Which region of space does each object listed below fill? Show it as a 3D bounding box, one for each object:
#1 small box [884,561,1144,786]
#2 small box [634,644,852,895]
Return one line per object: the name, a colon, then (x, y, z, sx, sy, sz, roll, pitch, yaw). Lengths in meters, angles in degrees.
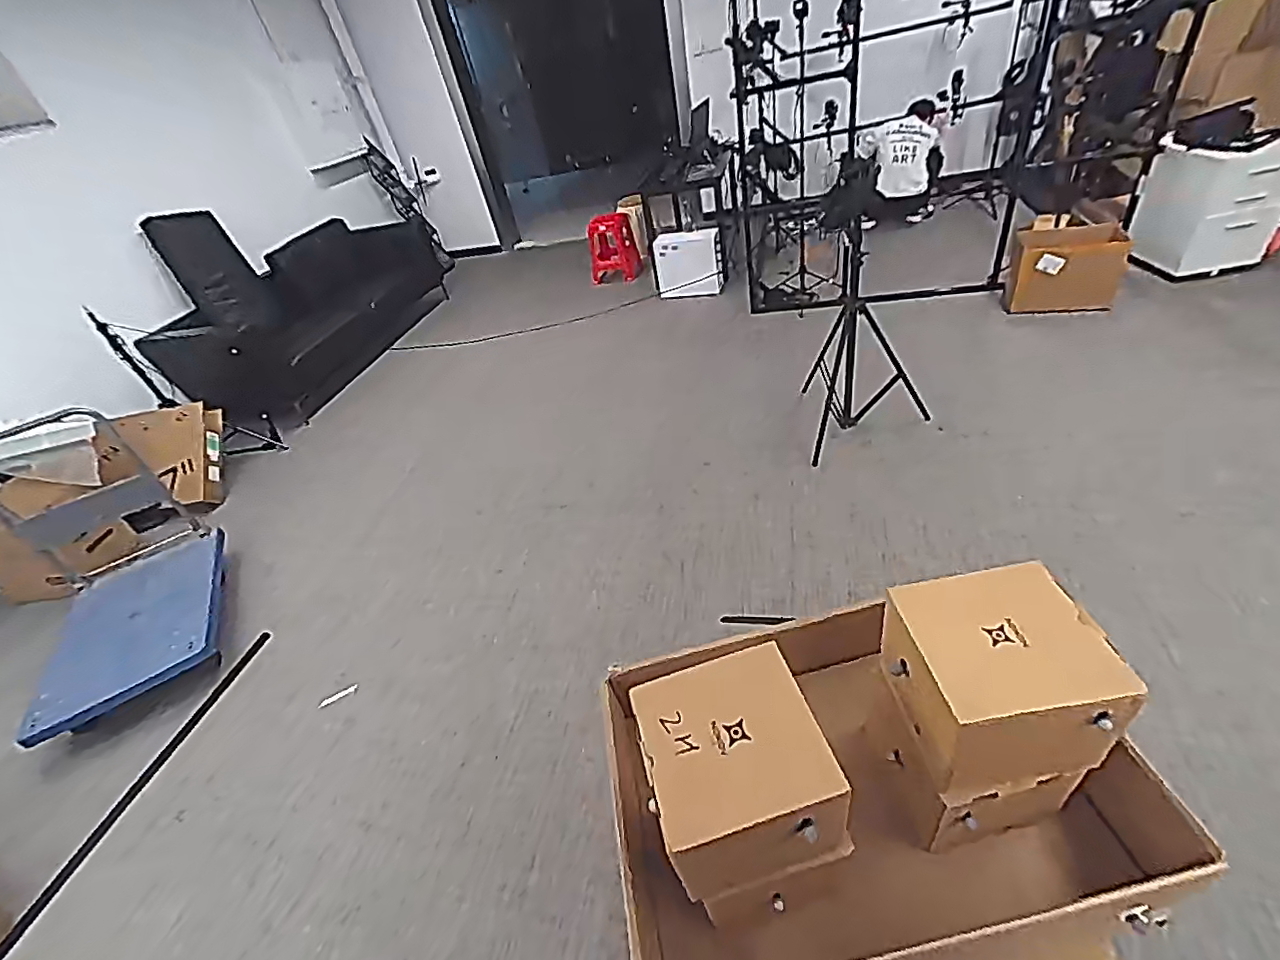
small box: (0.395, 0.222, 0.614, 0.179, 0.176, 0.168, -12, 39, 4)
small box: (0.106, 0.316, 0.593, 0.179, 0.176, 0.168, -17, 39, -3)
